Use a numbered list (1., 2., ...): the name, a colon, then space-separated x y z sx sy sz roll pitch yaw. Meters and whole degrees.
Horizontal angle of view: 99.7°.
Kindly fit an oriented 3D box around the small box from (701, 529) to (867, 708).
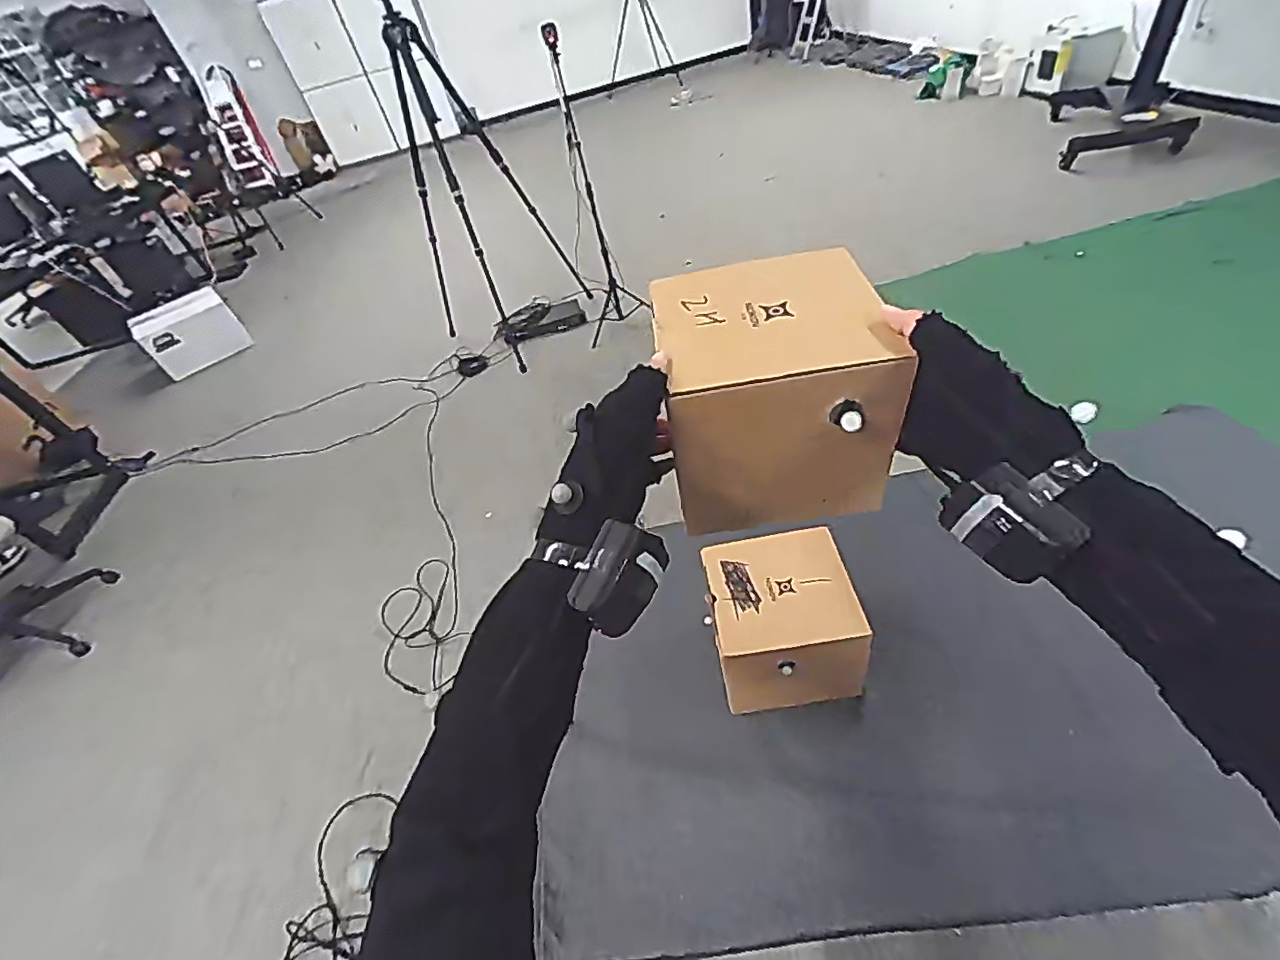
1. small box: 0.190 0.194 0.743 0.179 0.176 0.168 -10 44 4

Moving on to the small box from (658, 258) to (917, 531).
1. small box: 0.116 -0.073 0.492 0.179 0.176 0.168 -8 46 4
